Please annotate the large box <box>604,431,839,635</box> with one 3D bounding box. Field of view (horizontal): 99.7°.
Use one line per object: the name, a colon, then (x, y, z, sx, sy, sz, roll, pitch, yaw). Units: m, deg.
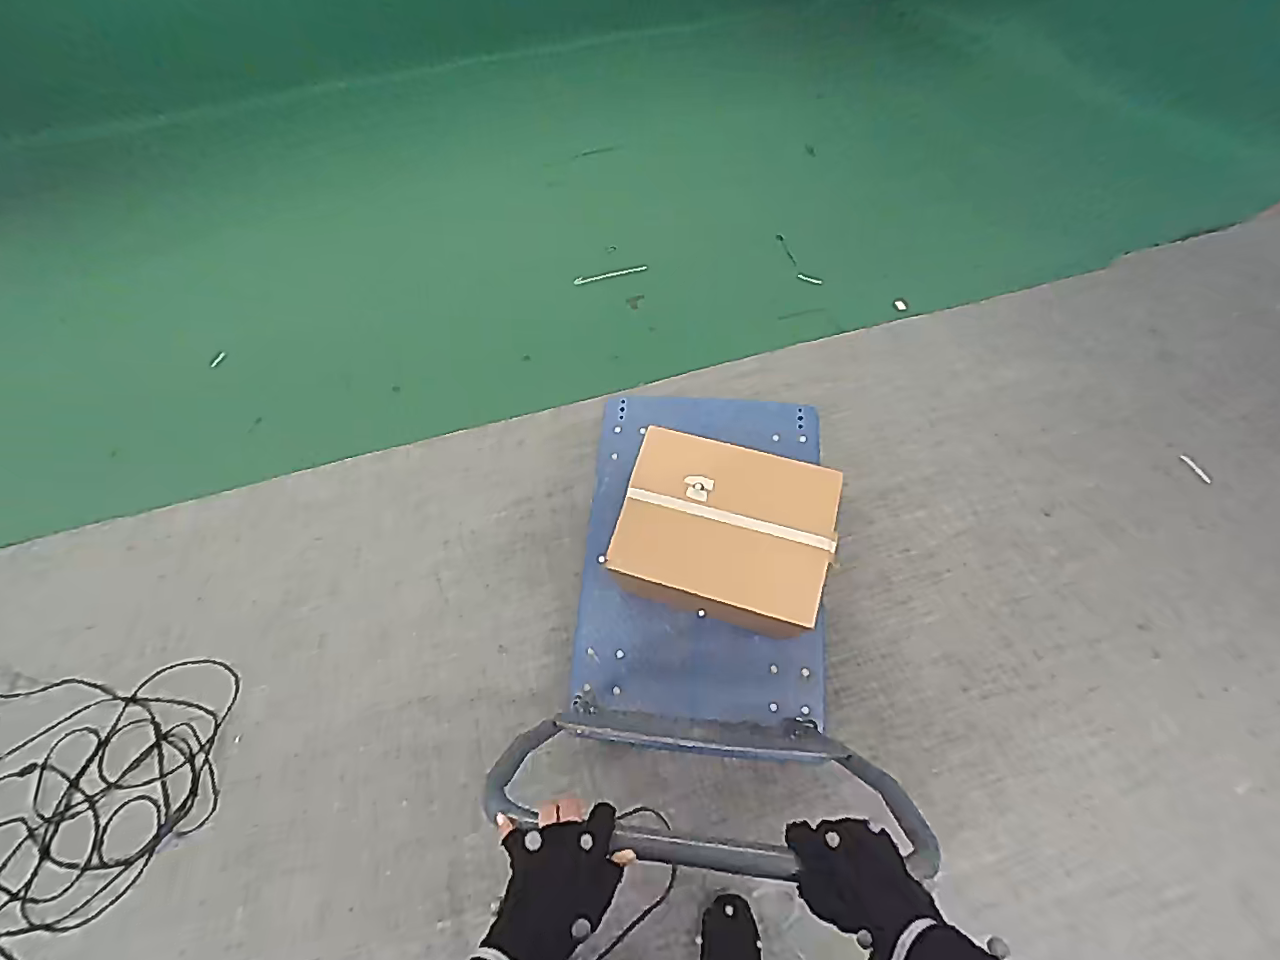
large box: (0.177, 0.130, 1.188, 0.408, 0.320, 0.320, 15, 72, 11)
